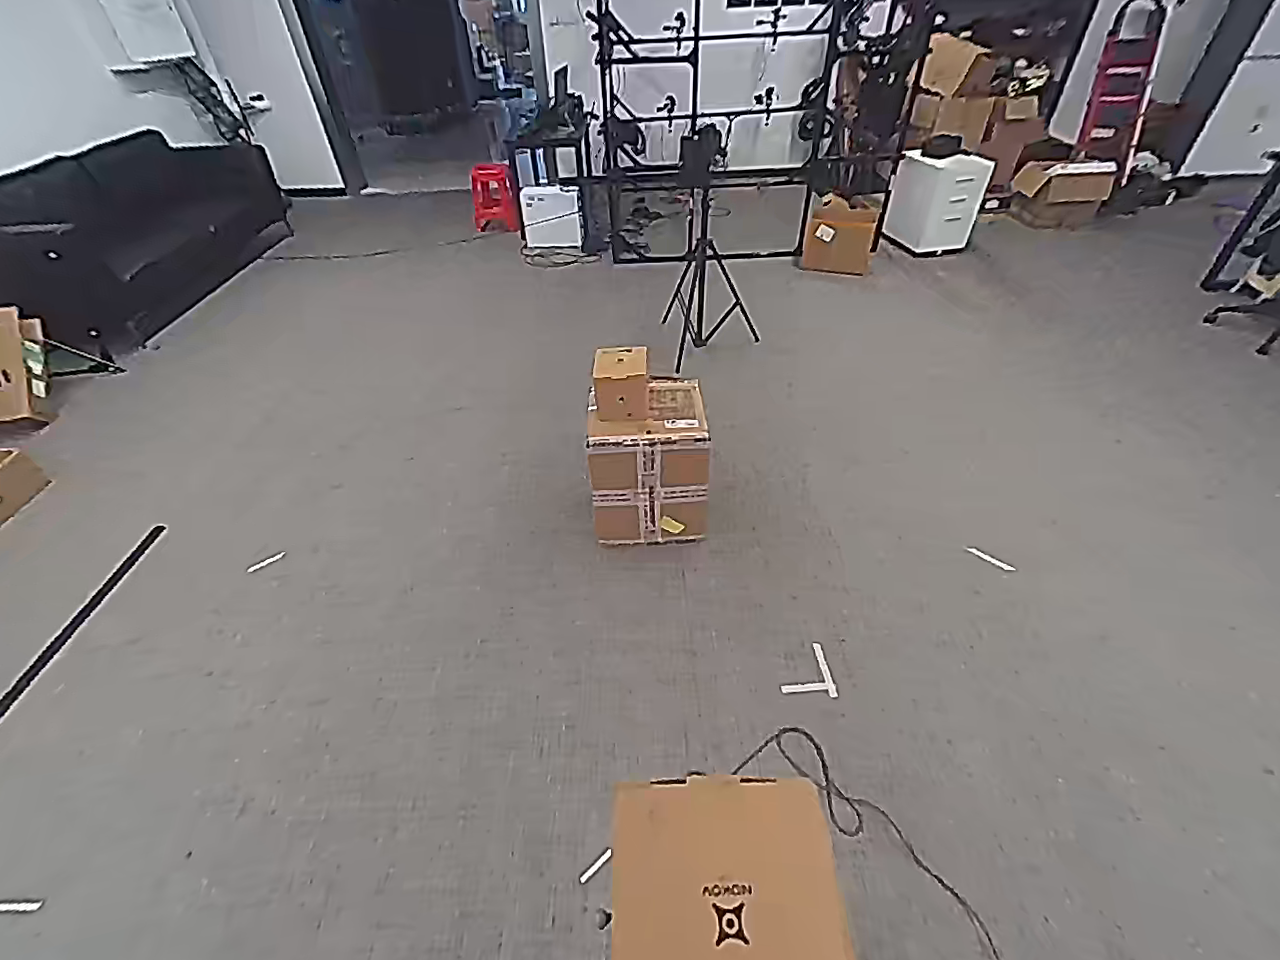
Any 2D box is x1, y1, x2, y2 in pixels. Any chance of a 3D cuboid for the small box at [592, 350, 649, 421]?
[{"bbox_3d":[-0.057,-0.304,1.760,0.168,0.176,0.179,-2,44,3],"label":"small box"}]
